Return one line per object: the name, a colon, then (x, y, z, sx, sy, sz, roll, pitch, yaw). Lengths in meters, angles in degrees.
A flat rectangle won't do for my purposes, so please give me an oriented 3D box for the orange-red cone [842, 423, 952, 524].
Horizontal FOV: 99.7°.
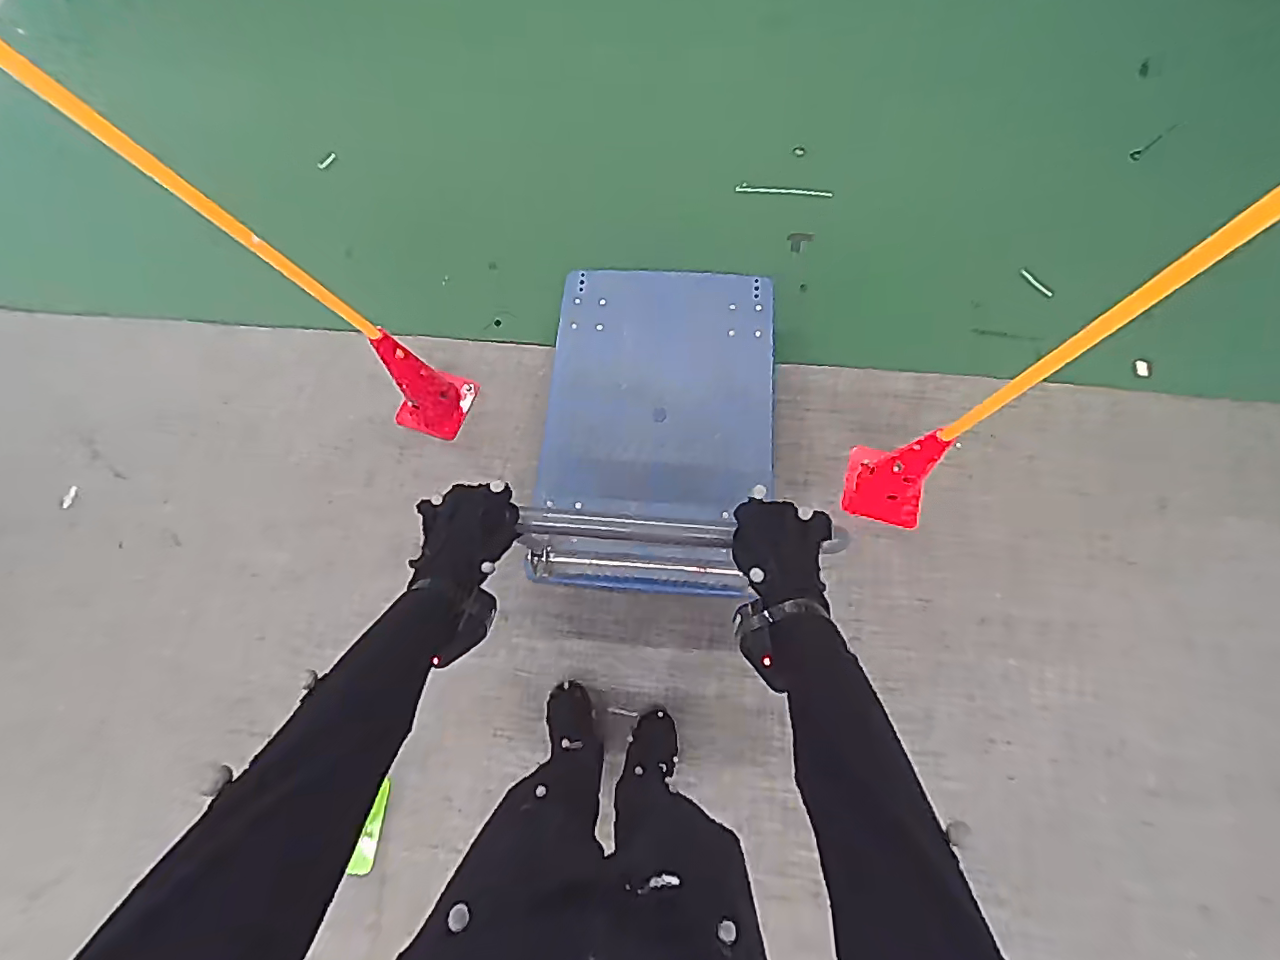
orange-red cone: (0.642, -0.046, 1.284, 0.198, 0.360, 0.199, 16, 74, 9)
